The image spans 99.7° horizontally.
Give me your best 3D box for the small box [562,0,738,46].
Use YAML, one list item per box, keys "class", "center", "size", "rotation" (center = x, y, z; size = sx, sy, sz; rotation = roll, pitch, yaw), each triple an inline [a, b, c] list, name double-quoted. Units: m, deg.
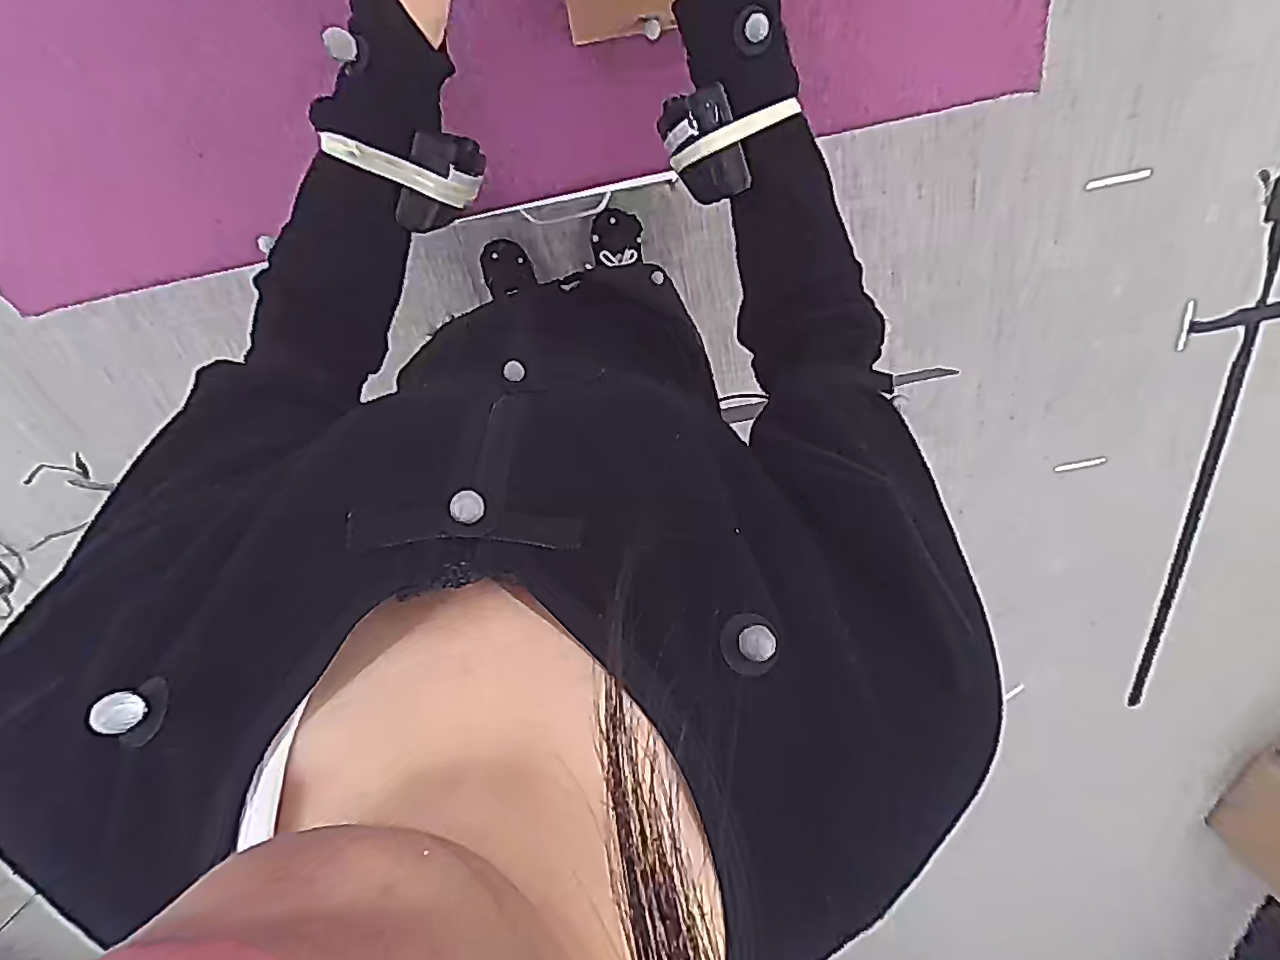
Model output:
- class: "small box"
  center: [0.003, -0.502, 0.450]
  size: [0.168, 0.176, 0.179]
  rotation: [-9, 117, 1]
